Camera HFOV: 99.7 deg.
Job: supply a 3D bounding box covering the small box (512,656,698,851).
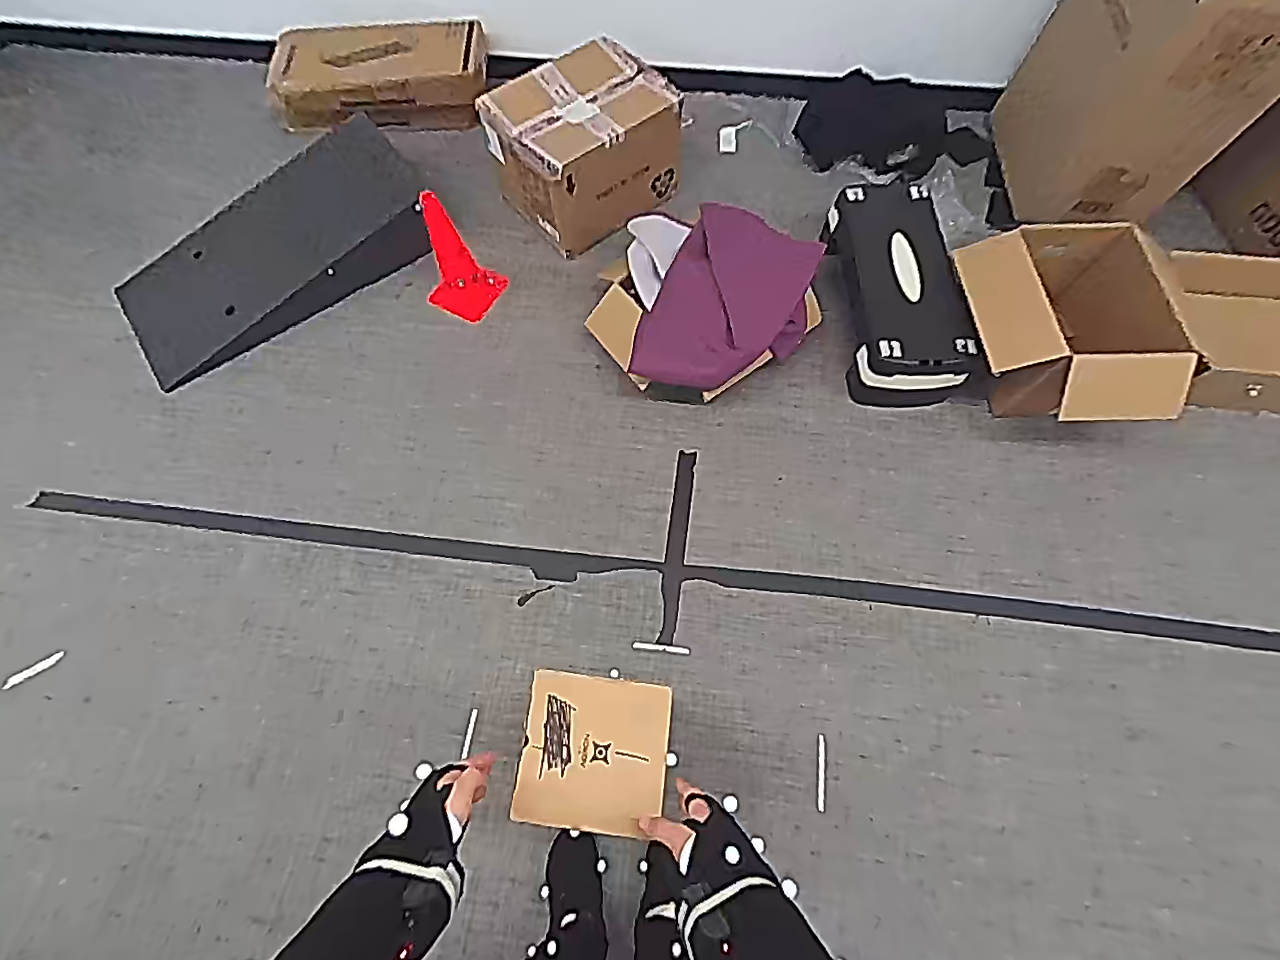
[{"bbox_3d":[-0.032,0.309,0.634,0.179,0.176,0.168,6,68,3],"label":"small box"}]
